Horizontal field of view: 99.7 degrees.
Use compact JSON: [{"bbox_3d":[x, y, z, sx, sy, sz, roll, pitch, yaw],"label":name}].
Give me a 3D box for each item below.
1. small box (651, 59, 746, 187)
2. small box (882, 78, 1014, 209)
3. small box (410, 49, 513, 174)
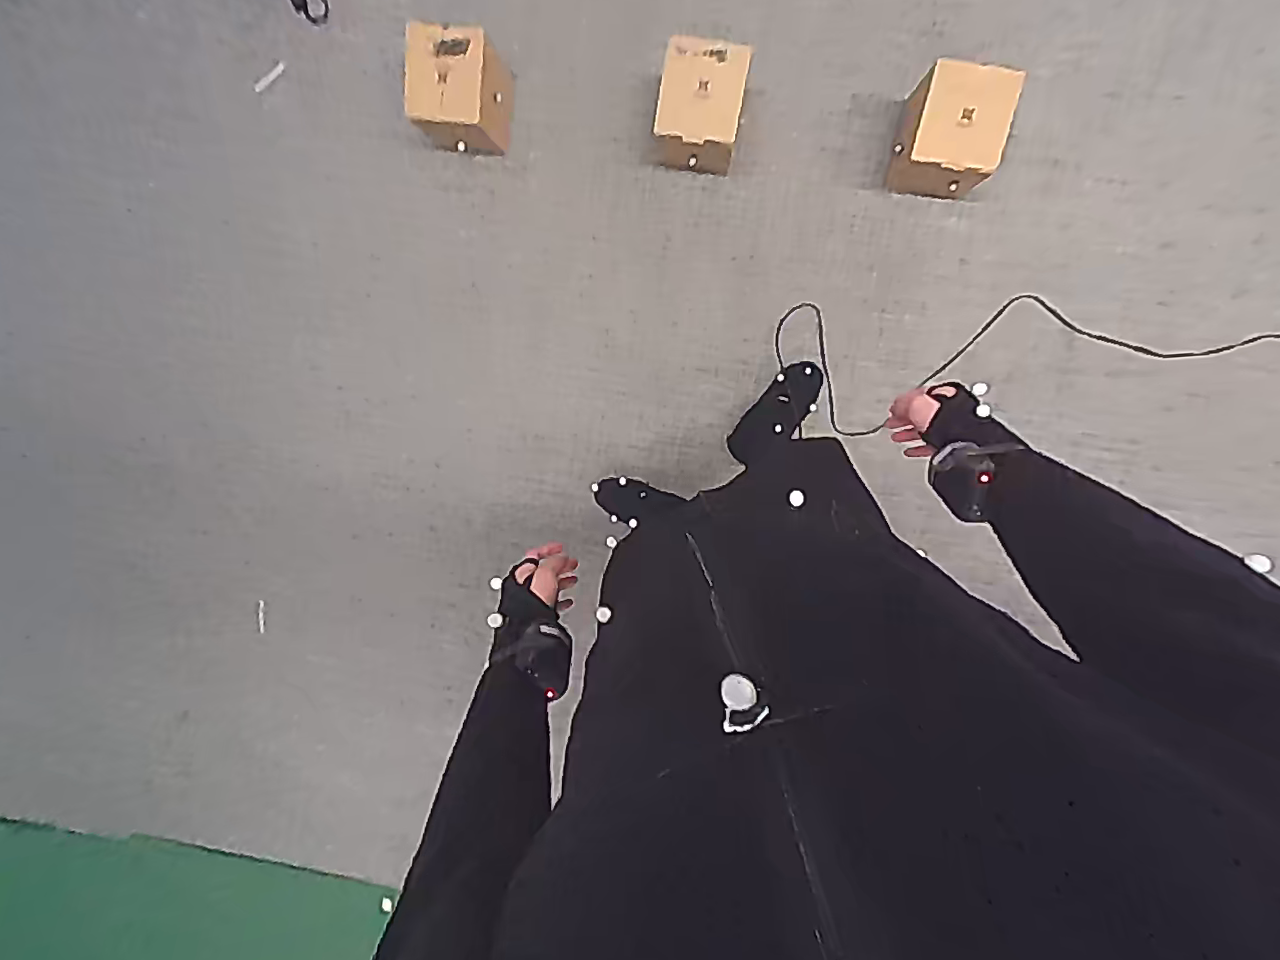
[{"bbox_3d":[0.126,-0.753,1.161,0.168,0.176,0.179,11,103,5],"label":"small box"},{"bbox_3d":[0.620,-0.682,1.117,0.168,0.176,0.179,10,101,4],"label":"small box"},{"bbox_3d":[-0.391,-0.813,1.208,0.168,0.176,0.179,8,103,5],"label":"small box"}]
